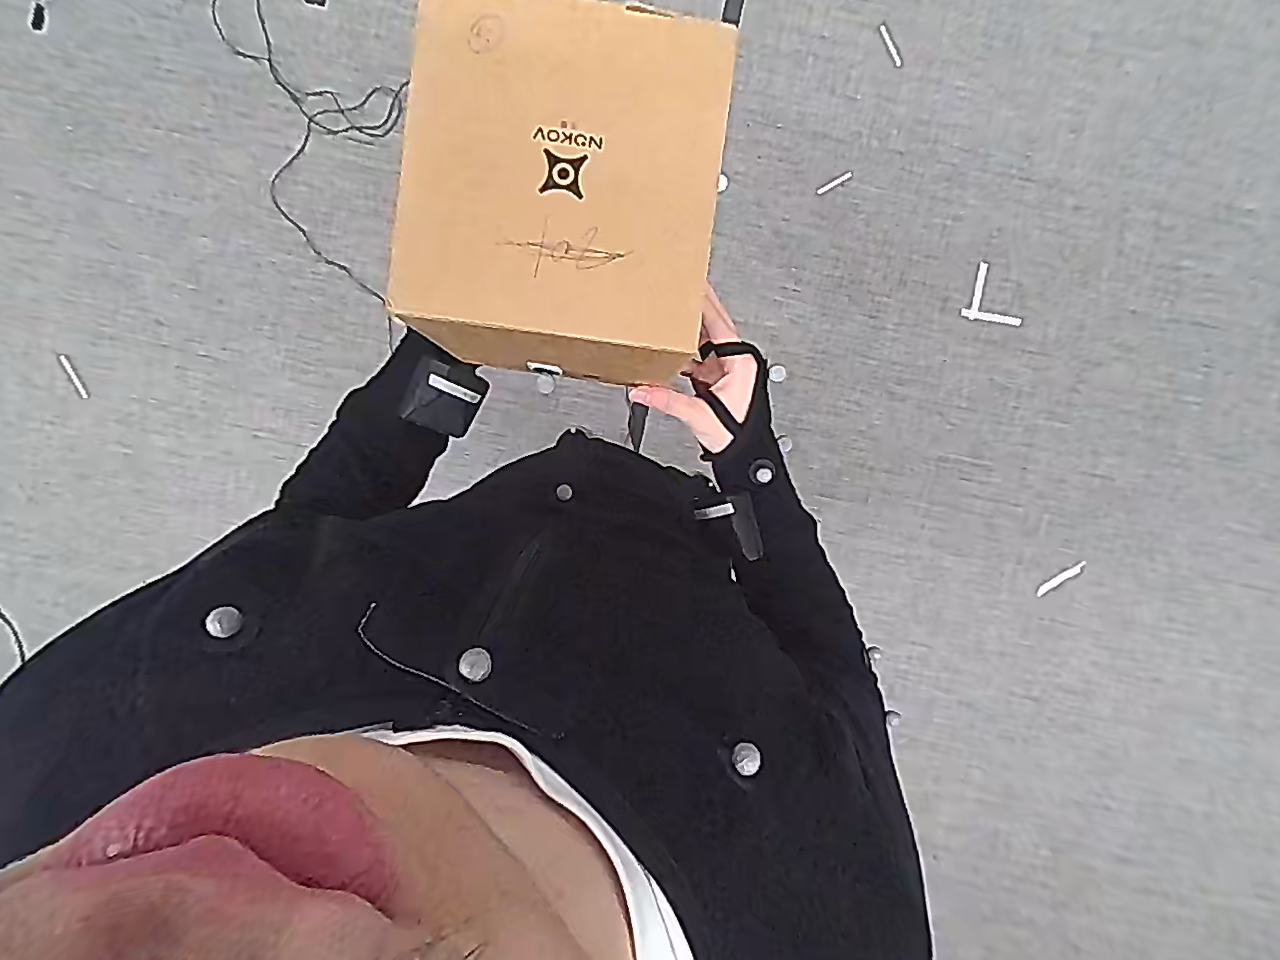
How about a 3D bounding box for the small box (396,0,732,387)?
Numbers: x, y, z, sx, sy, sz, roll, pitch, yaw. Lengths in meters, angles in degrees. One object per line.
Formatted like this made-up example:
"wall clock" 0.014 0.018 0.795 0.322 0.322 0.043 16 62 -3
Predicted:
"small box" -0.045 -0.171 0.374 0.168 0.176 0.179 7 92 -3
